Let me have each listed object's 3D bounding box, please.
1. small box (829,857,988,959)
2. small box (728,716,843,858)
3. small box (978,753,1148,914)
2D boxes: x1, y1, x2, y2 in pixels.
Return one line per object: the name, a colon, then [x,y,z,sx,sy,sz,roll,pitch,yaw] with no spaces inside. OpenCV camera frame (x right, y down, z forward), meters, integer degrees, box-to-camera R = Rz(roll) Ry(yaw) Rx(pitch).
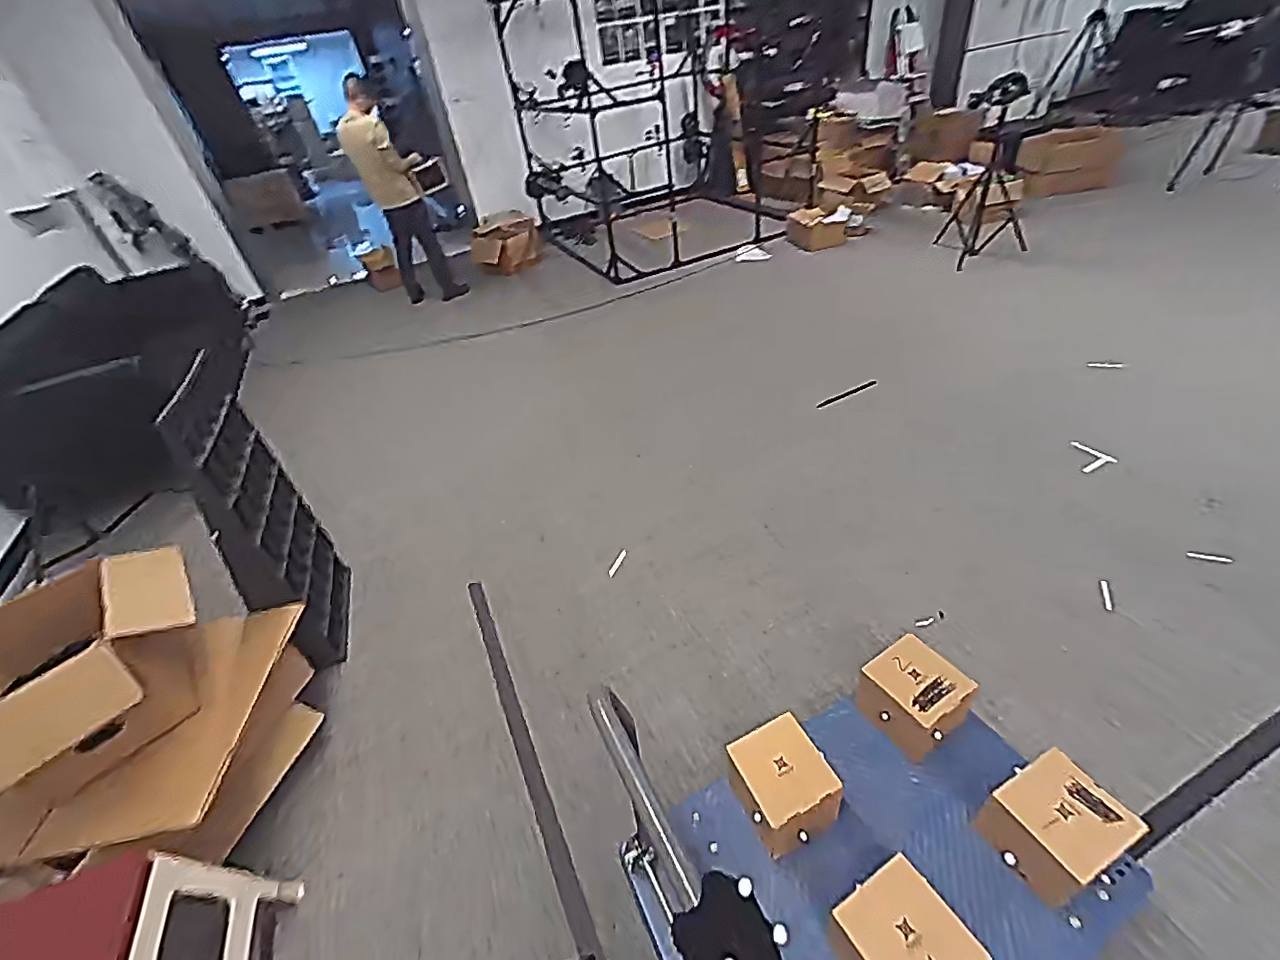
small box: [0.442,0.799,0.915,0.168,0.176,0.179,-25,39,-18]
small box: [0.298,0.647,1.144,0.168,0.176,0.179,-21,40,-15]
small box: [0.777,0.662,1.016,0.179,0.176,0.168,-23,39,-15]
